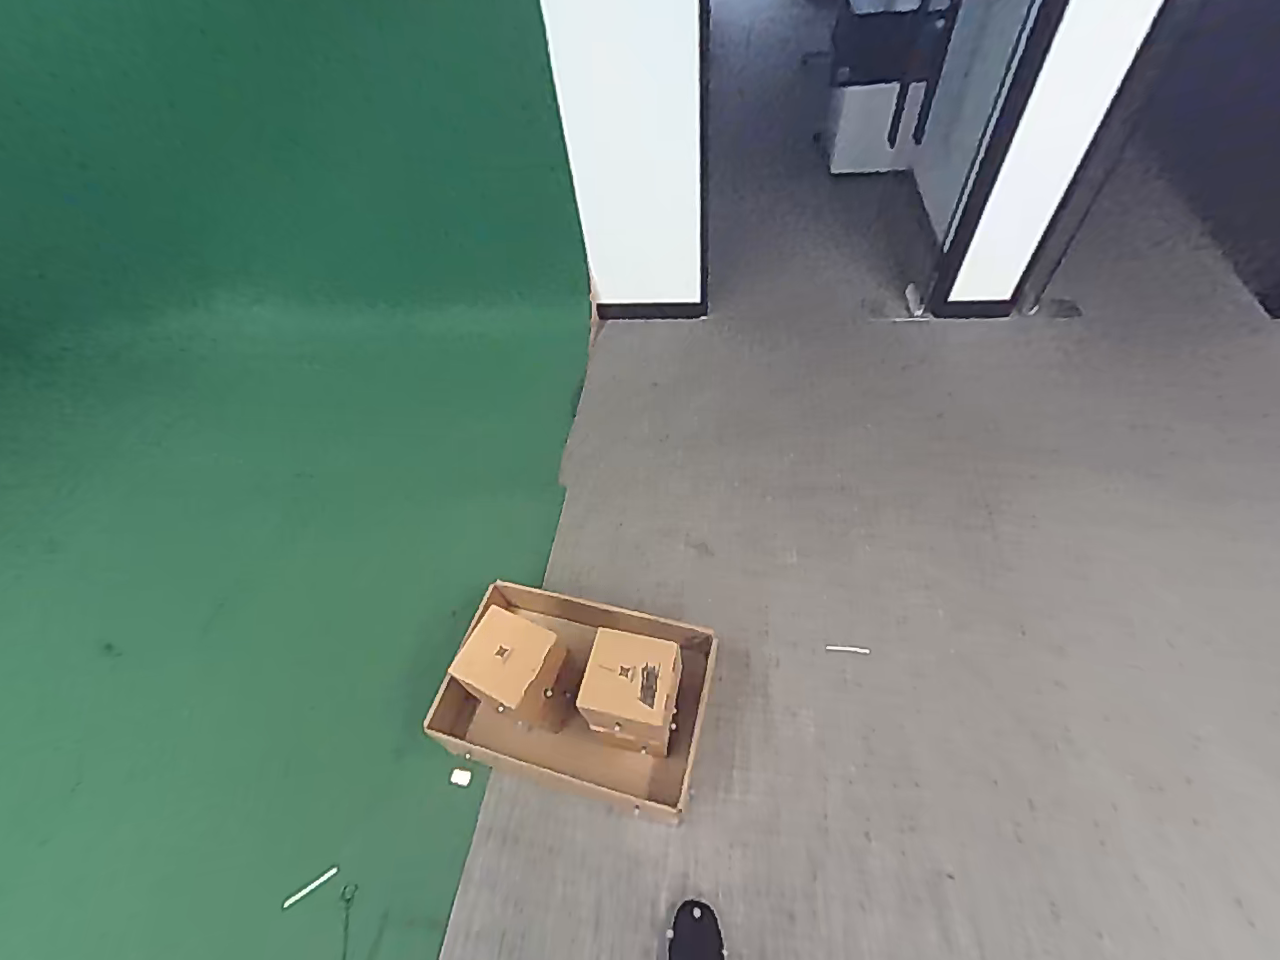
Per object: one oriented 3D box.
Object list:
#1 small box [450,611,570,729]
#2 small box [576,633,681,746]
[{"bbox_3d":[-0.278,0.423,1.193,0.179,0.176,0.168,20,57,18],"label":"small box"},{"bbox_3d":[-0.013,0.446,1.141,0.179,0.176,0.168,8,54,14],"label":"small box"}]
